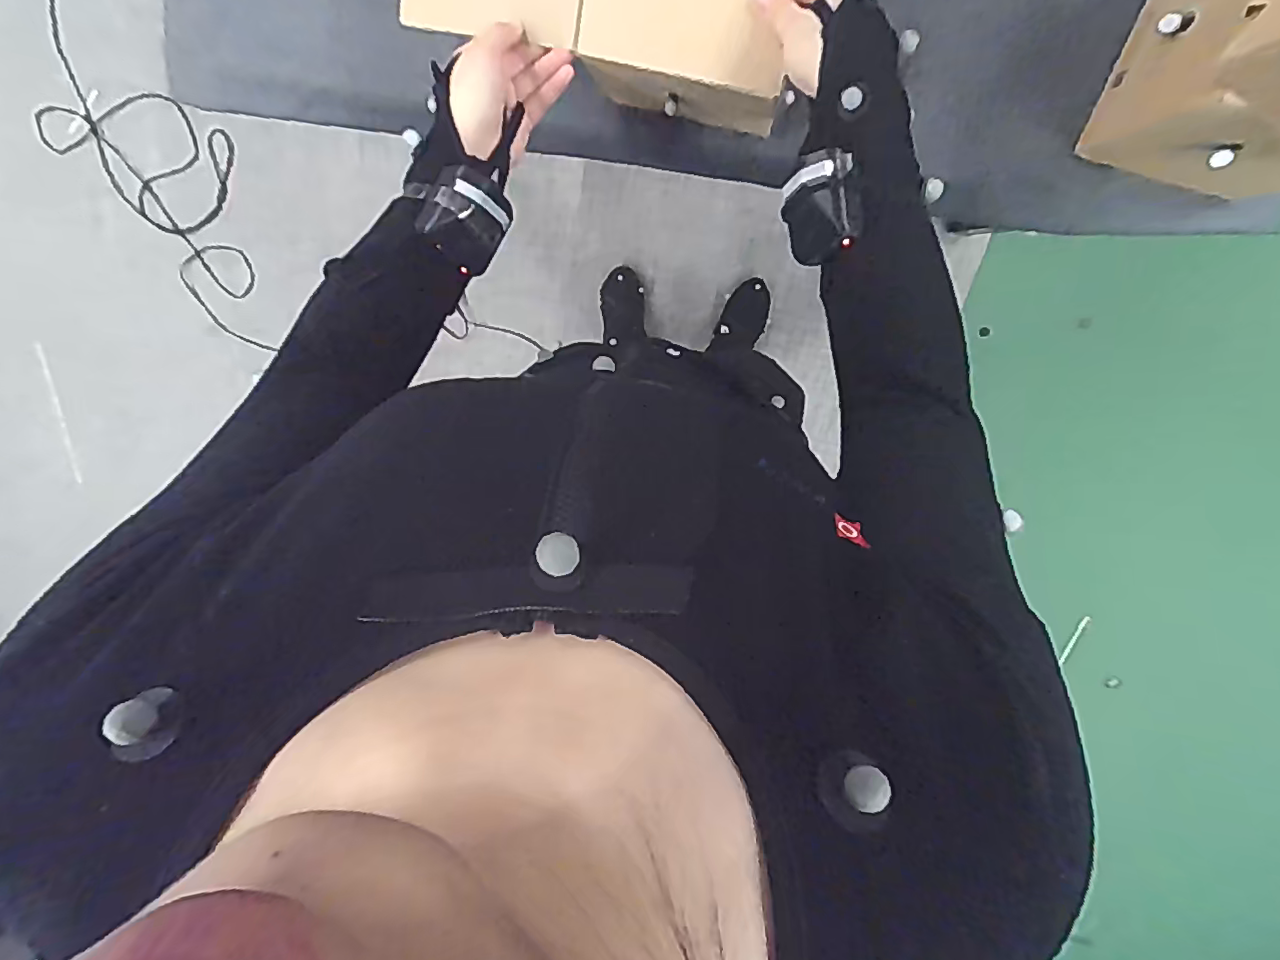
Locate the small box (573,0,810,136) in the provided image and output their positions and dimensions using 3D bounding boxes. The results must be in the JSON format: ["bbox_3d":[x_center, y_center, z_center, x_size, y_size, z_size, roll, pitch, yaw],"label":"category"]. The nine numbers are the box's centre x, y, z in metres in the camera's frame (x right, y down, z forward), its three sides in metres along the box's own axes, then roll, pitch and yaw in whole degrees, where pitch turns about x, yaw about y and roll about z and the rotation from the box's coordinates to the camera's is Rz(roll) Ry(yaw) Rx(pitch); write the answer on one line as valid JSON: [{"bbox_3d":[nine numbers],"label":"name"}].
[{"bbox_3d":[0.059,-0.425,0.479,0.179,0.176,0.168,16,115,5],"label":"small box"}]

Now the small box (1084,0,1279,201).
[{"bbox_3d":[0.536,-0.350,0.450,0.179,0.176,0.168,17,110,1],"label":"small box"}]

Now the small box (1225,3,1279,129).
[{"bbox_3d":[0.519,-0.280,0.302,0.179,0.176,0.168,36,109,-7],"label":"small box"}]
